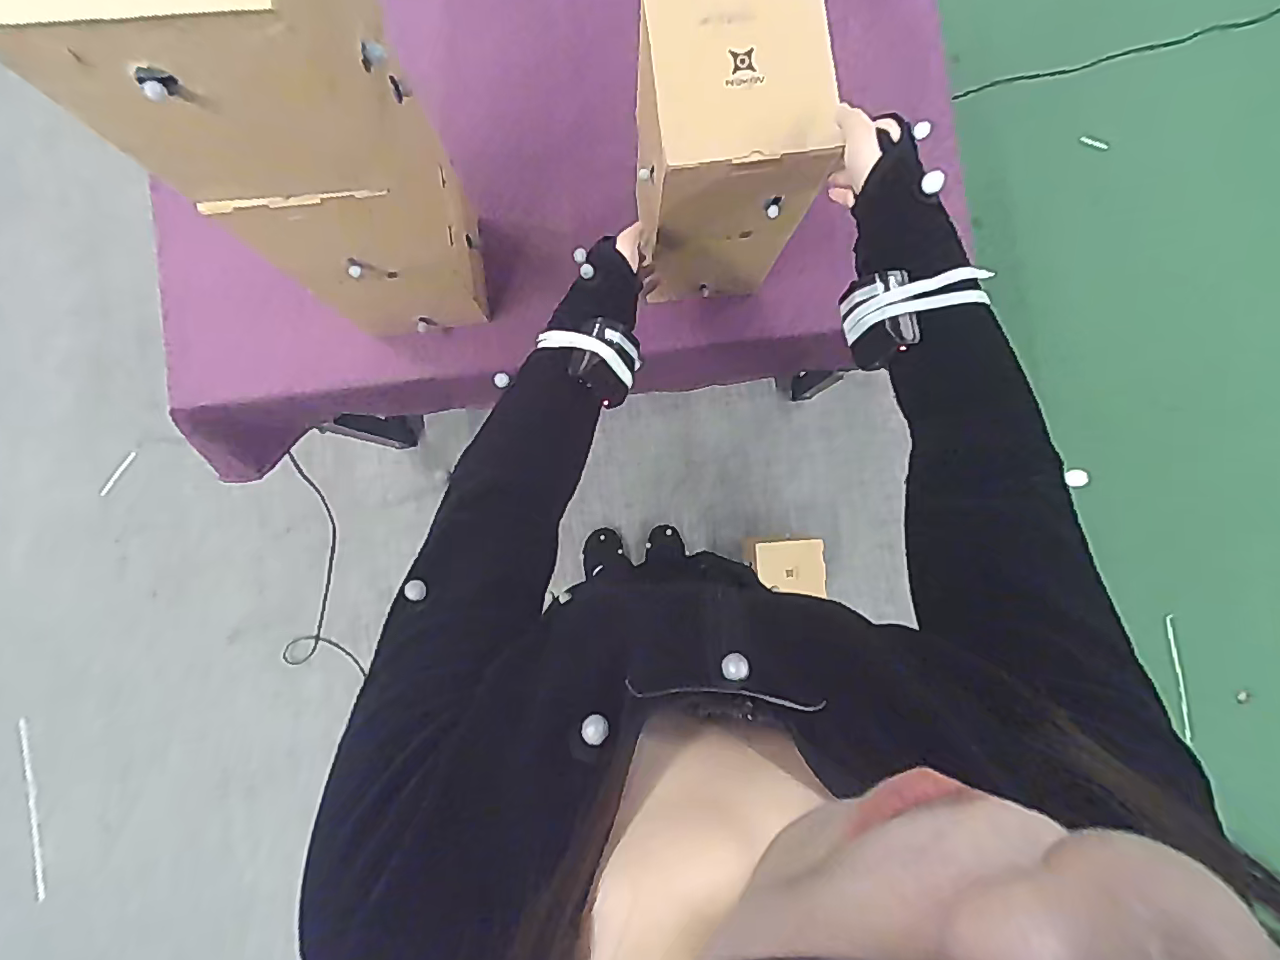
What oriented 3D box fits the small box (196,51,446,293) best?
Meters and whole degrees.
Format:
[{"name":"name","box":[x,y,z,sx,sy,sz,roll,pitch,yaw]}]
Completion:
[{"name":"small box","box":[-0.312,-0.315,0.553,0.168,0.176,0.179,-7,87,-2]}]

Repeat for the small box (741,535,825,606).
[{"name":"small box","box":[0.374,0.236,1.445,0.179,0.176,0.168,-4,88,-3]}]

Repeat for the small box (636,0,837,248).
[{"name":"small box","box":[0.087,-0.364,0.570,0.168,0.176,0.179,-7,87,-3]}]

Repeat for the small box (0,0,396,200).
[{"name":"small box","box":[-0.301,-0.326,0.389,0.179,0.176,0.168,-6,87,-3]}]

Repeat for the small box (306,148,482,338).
[{"name":"small box","box":[-0.317,-0.301,0.717,0.179,0.176,0.168,-9,87,-3]}]
